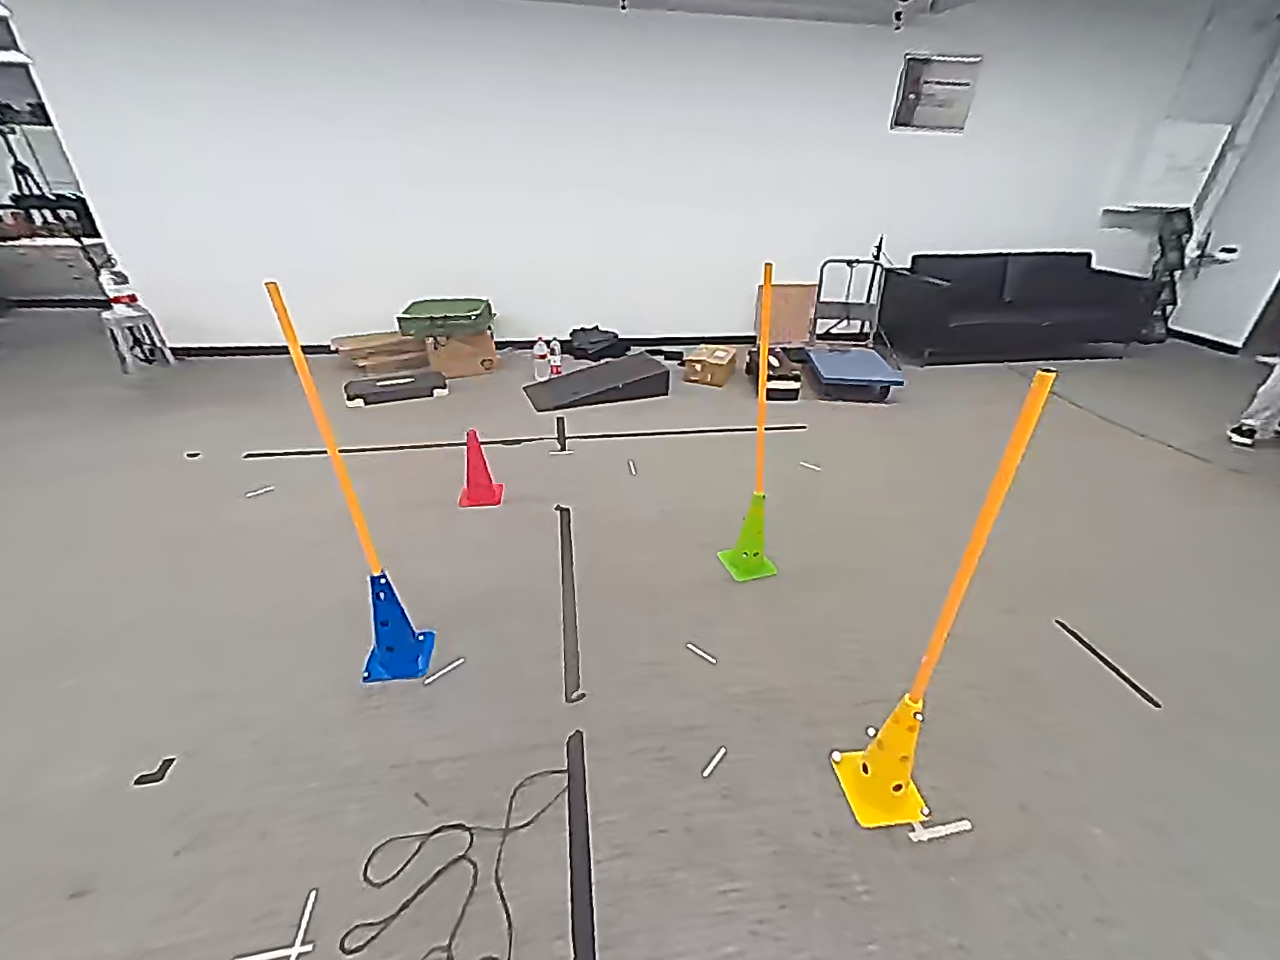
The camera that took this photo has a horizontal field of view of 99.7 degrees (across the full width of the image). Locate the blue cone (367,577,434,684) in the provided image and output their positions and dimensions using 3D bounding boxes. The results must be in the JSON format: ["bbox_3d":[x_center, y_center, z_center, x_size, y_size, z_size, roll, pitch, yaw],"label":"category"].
[{"bbox_3d":[-0.795,0.459,1.730,0.193,0.380,0.192,-2,30,-6],"label":"blue cone"}]

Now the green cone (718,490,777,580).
[{"bbox_3d":[0.457,0.200,2.207,0.200,0.368,0.202,-9,33,-17],"label":"green cone"}]
